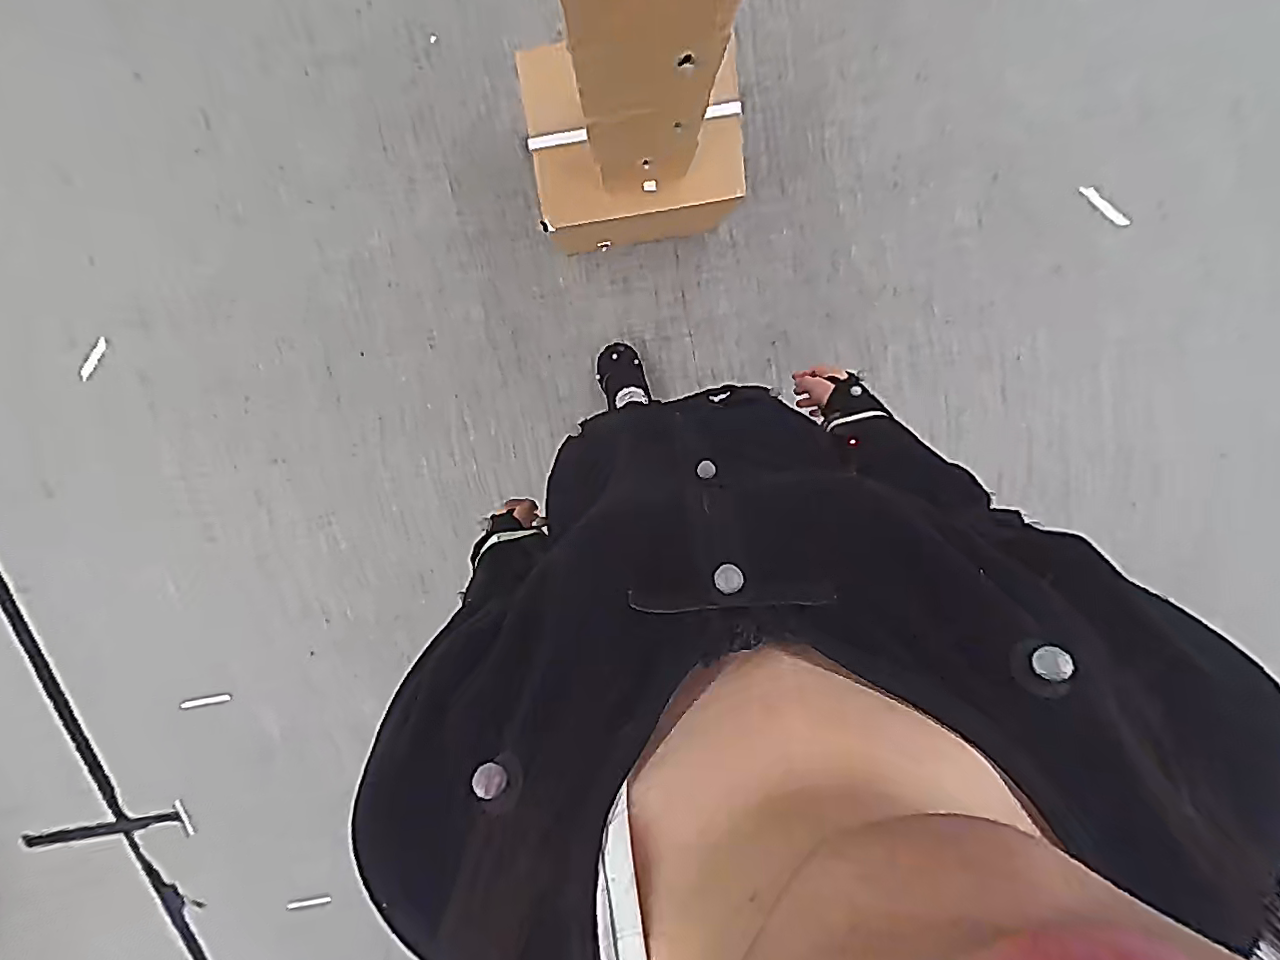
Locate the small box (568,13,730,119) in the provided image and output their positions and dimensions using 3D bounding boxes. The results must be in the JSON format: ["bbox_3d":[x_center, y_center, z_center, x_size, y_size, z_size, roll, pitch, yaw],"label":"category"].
[{"bbox_3d":[-0.001,-0.556,0.636,0.179,0.176,0.168,-8,104,1],"label":"small box"}]

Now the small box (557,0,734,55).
[{"bbox_3d":[0.002,-0.518,0.479,0.179,0.176,0.168,-8,105,1],"label":"small box"}]

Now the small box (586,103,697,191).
[{"bbox_3d":[-0.006,-0.633,0.955,0.179,0.176,0.168,-12,105,0],"label":"small box"}]
